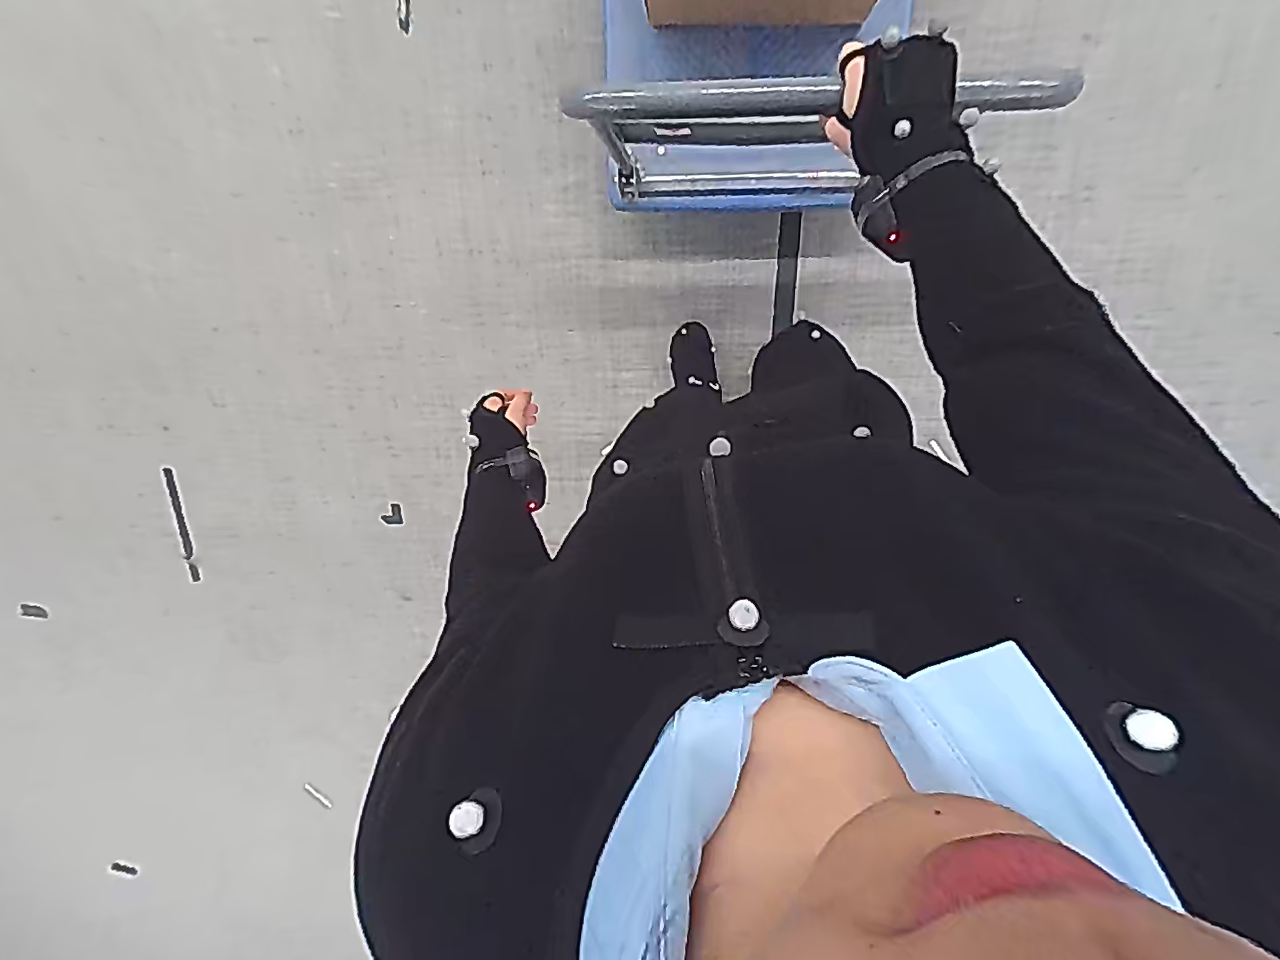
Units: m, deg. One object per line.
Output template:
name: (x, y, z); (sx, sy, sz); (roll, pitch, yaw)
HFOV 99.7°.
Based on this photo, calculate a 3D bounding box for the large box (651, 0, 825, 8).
large box: (0.204, -0.976, 0.814); (0.408, 0.320, 0.320); (3, 108, 6)
